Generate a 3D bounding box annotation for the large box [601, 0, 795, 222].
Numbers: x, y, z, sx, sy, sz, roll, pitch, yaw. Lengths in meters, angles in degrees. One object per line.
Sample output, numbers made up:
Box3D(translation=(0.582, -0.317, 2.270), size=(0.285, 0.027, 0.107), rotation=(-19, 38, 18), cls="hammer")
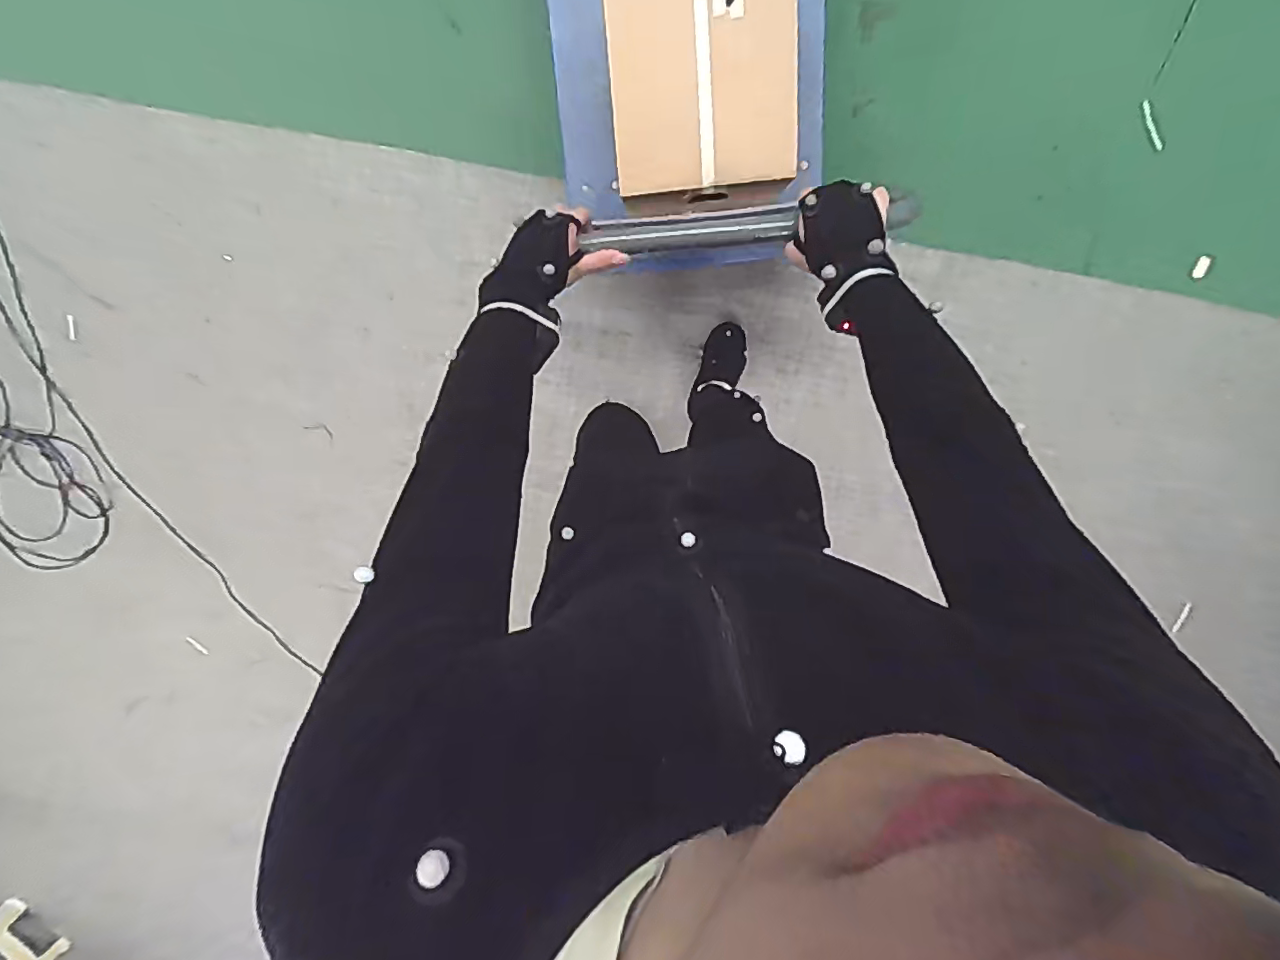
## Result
Box3D(translation=(0.111, -0.758, 1.048), size=(0.320, 0.320, 0.408), rotation=(-4, 106, 5), cls="large box")
